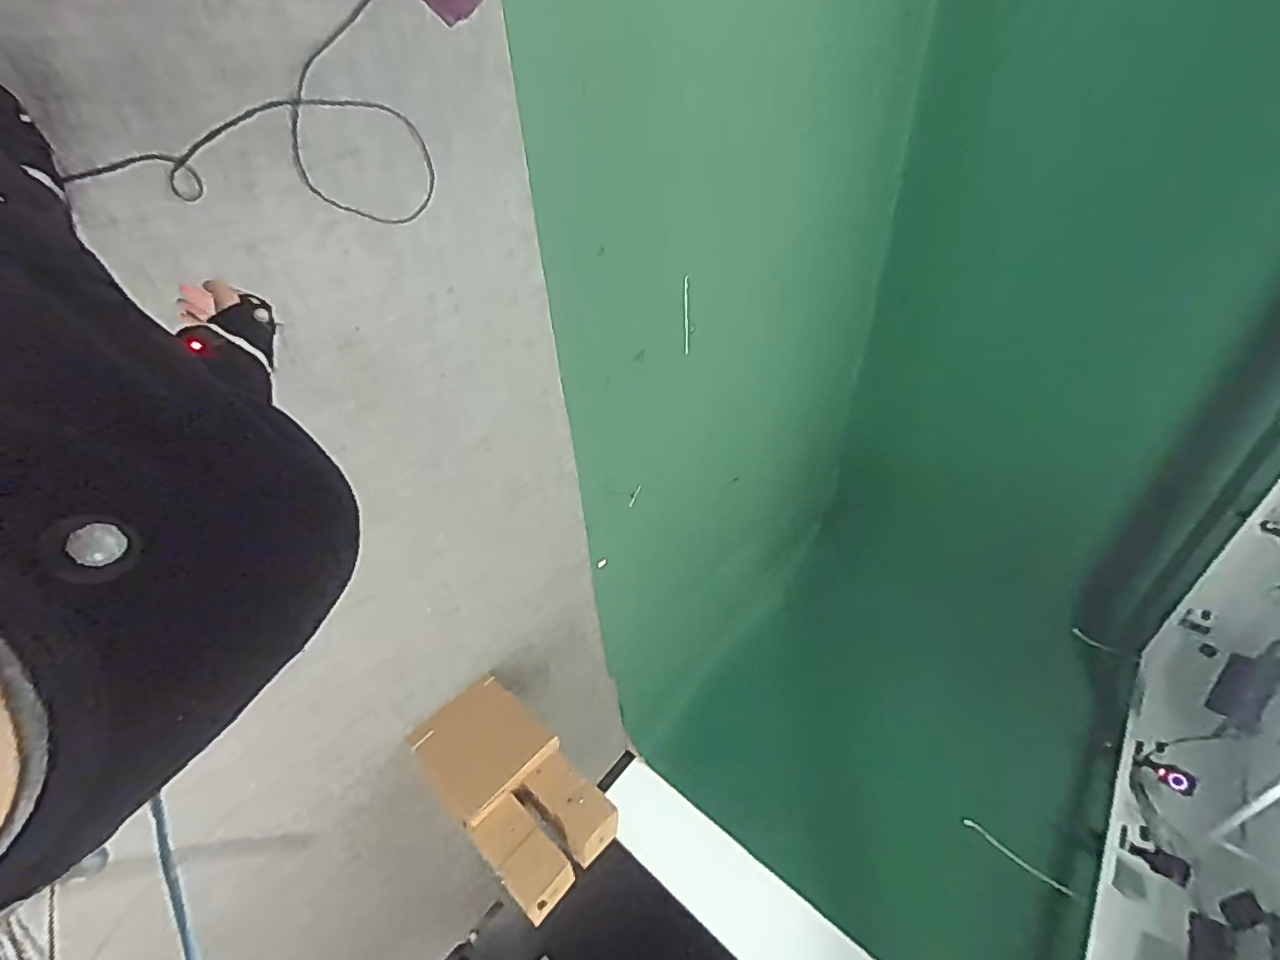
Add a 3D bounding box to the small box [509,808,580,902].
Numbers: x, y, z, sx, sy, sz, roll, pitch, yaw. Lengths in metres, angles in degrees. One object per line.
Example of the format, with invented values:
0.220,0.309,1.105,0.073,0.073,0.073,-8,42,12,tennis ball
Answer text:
-0.336,1.297,1.877,0.179,0.176,0.168,-36,137,-36,small box
